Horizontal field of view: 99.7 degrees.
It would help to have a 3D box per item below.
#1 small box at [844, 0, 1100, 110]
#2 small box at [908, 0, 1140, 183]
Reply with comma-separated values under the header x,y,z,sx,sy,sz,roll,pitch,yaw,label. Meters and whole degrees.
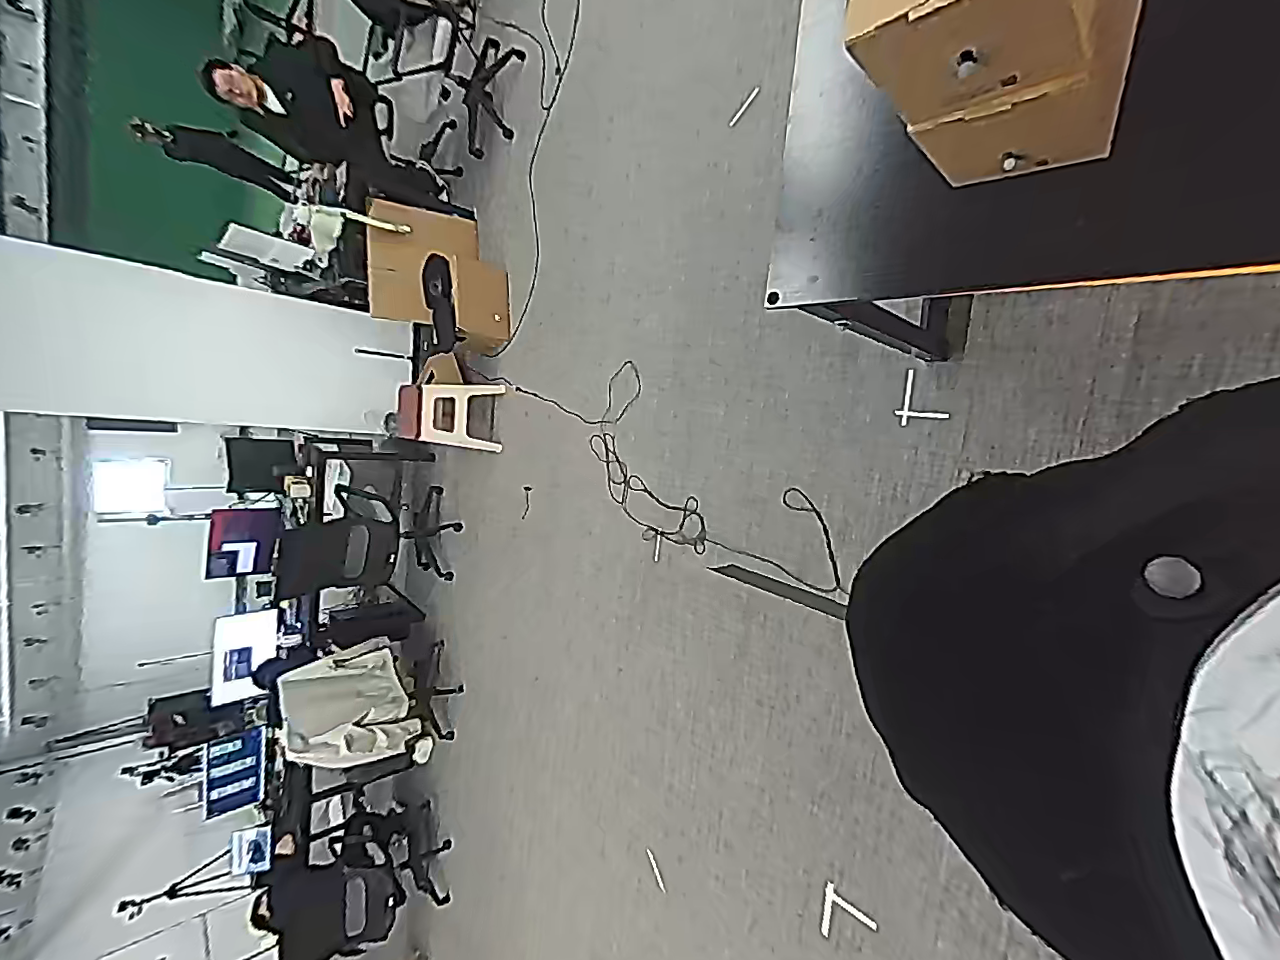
x,y,z,sx,sy,sz,roll,pitch,yaw,label
0.312,-0.480,0.497,0.168,0.176,0.179,11,98,46,small box
0.432,-0.470,0.608,0.168,0.176,0.179,15,101,46,small box
